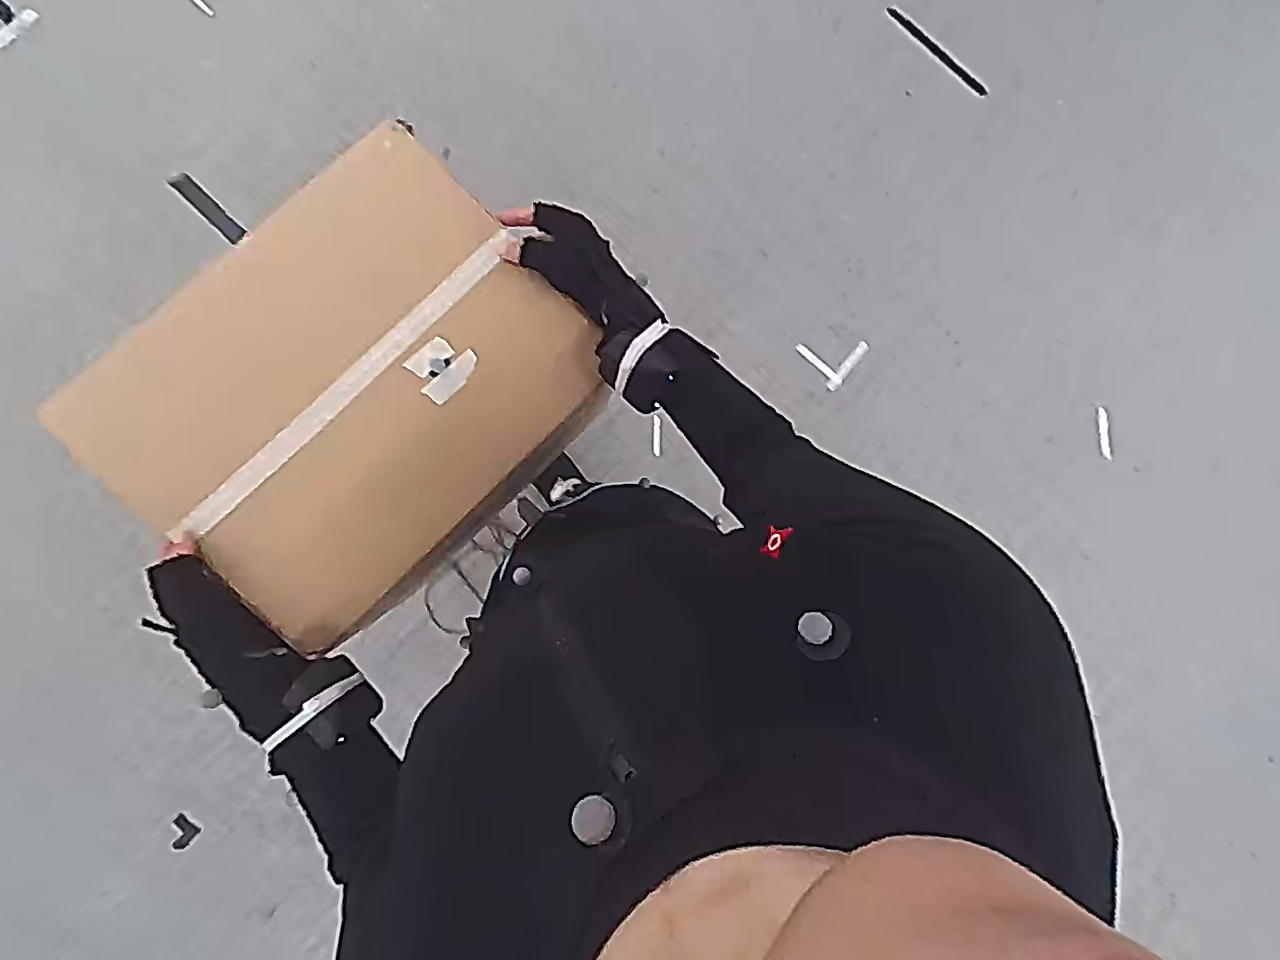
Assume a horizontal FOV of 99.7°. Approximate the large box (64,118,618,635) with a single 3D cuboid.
[{"bbox_3d":[-0.283,-0.095,0.651,0.320,0.320,0.408,45,82,-6],"label":"large box"}]
